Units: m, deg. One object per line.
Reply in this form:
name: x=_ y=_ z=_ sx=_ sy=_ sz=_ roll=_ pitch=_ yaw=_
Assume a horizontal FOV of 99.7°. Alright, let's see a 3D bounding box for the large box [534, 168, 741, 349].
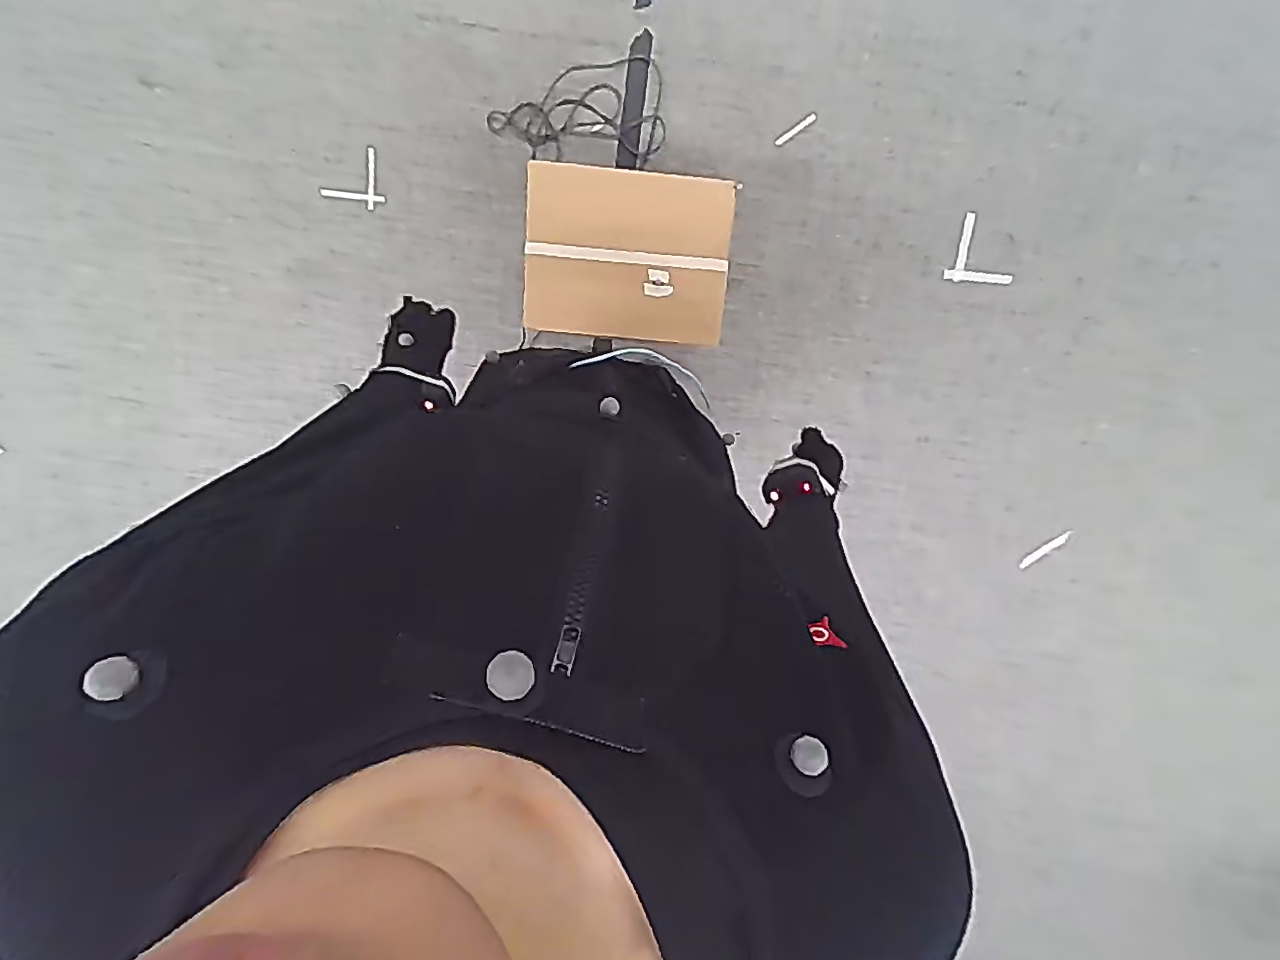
large box: x=-0.017 y=-0.472 z=1.229 sx=0.408 sy=0.320 sz=0.320 roll=5 pitch=104 yaw=-3
